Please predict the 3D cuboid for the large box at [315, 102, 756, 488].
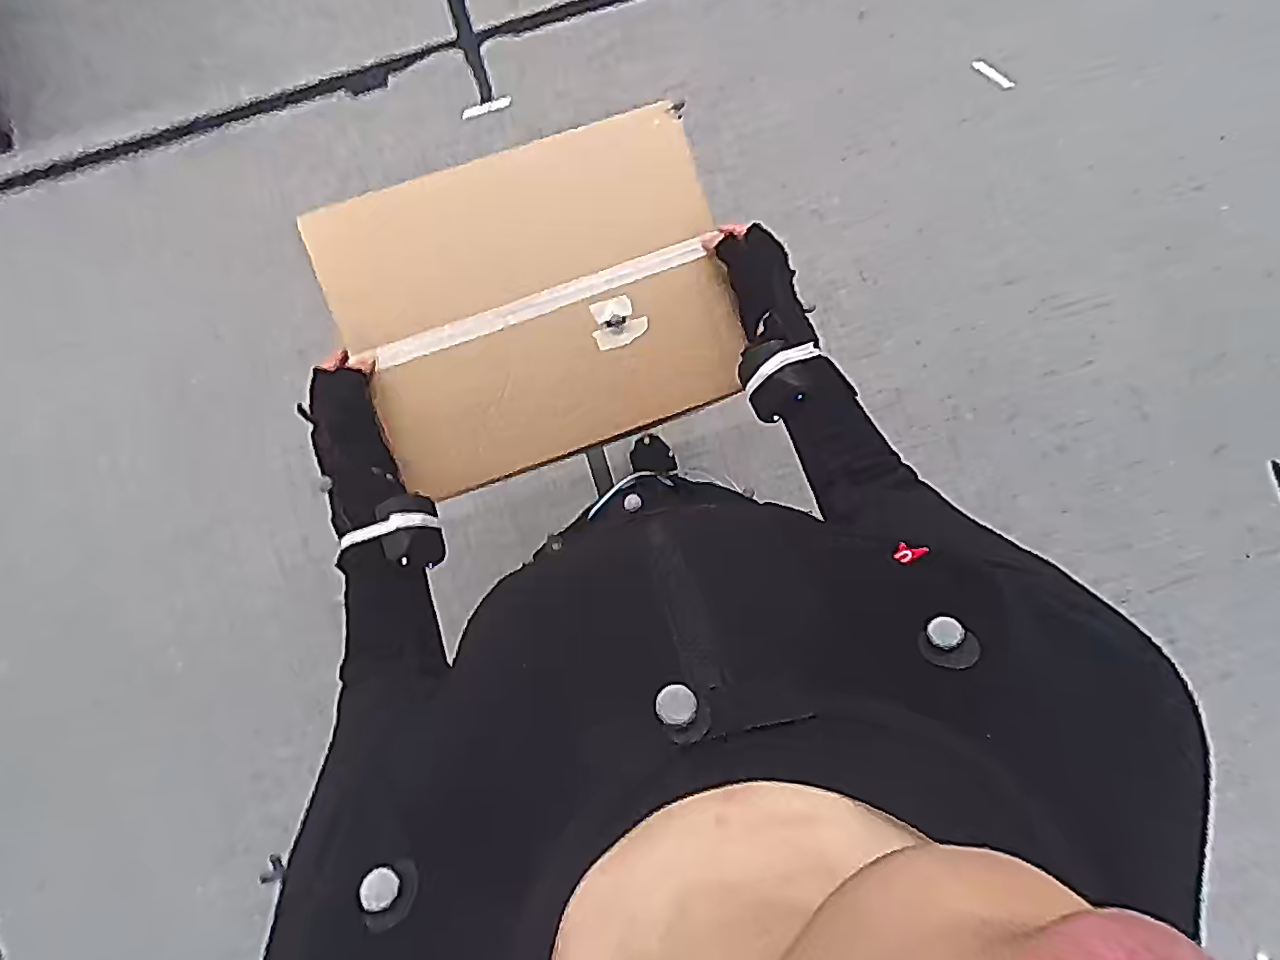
[{"bbox_3d":[-0.118,-0.205,0.729,0.408,0.320,0.320,-20,95,-5],"label":"large box"}]
